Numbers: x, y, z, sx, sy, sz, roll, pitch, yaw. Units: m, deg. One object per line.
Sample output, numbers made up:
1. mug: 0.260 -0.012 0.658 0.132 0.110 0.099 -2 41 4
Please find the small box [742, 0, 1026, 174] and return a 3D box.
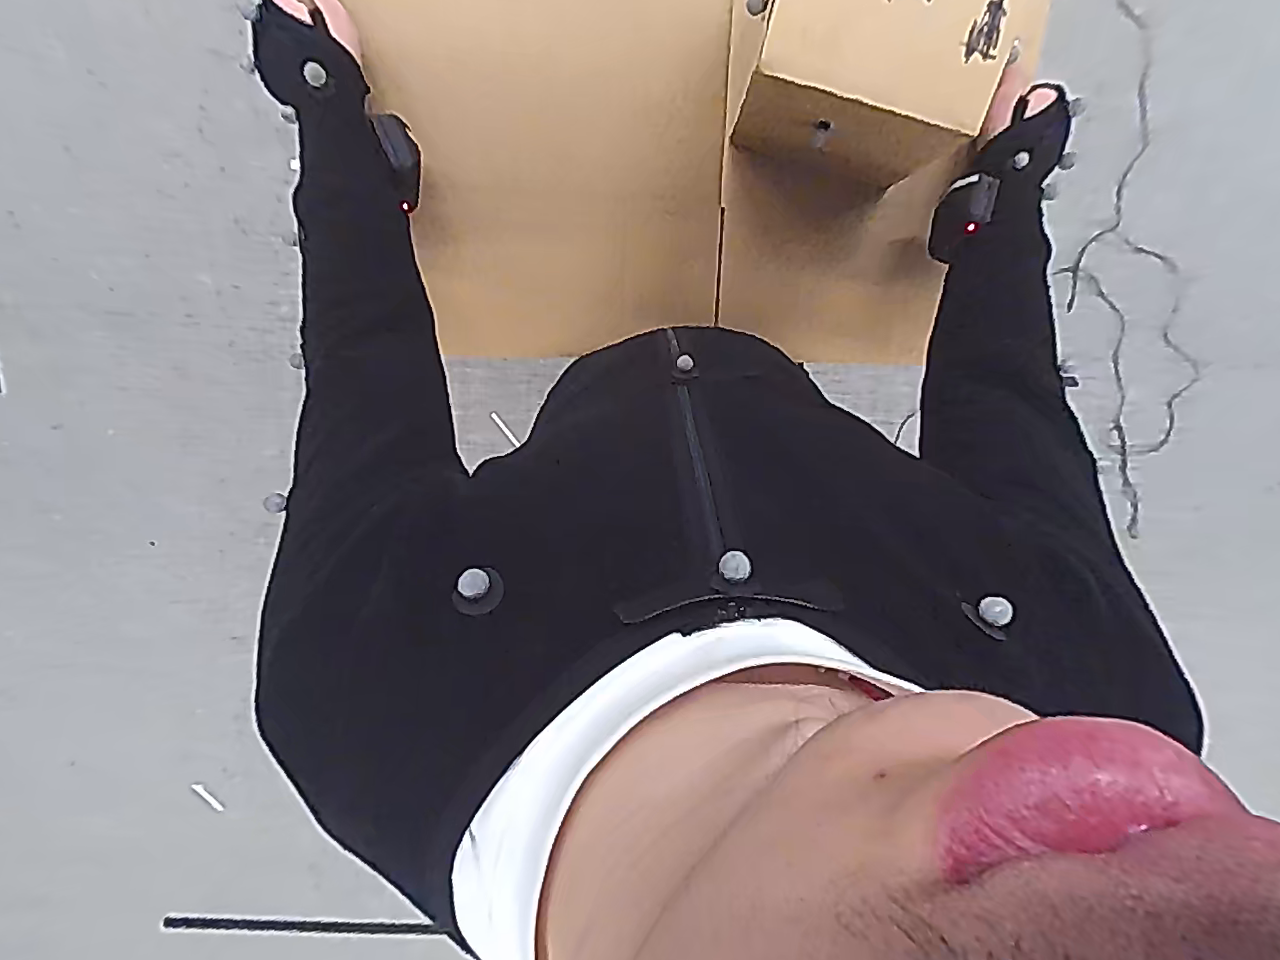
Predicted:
1. small box: 0.196 -0.385 0.459 0.179 0.176 0.168 15 107 -1
